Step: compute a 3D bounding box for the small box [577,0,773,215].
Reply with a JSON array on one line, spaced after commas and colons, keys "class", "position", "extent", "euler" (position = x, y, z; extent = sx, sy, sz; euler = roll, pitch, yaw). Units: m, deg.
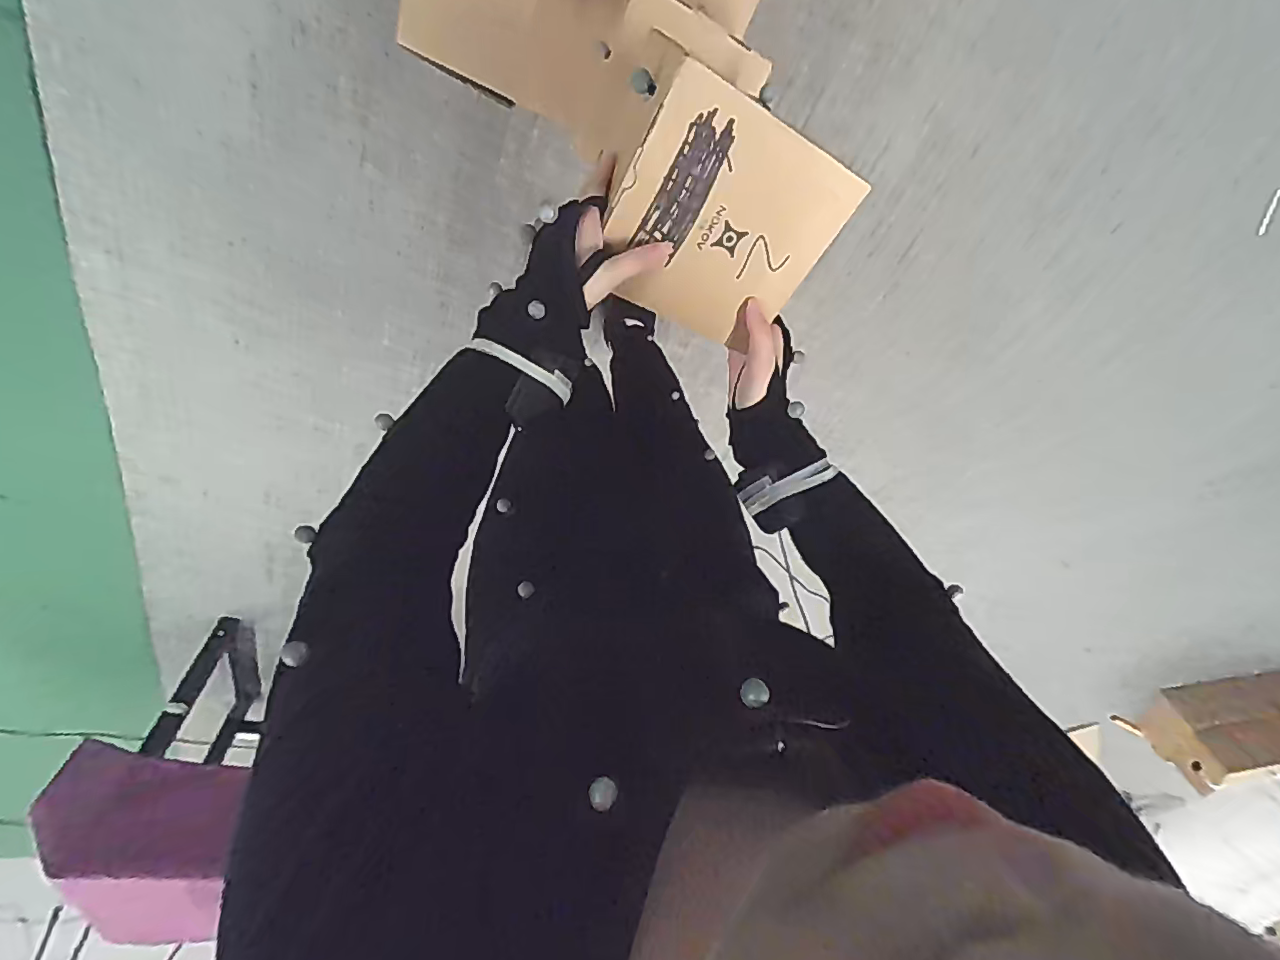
[{"class": "small box", "position": [0.028, -0.466, 0.662], "extent": [0.168, 0.176, 0.179], "euler": [19, 124, -20]}]
